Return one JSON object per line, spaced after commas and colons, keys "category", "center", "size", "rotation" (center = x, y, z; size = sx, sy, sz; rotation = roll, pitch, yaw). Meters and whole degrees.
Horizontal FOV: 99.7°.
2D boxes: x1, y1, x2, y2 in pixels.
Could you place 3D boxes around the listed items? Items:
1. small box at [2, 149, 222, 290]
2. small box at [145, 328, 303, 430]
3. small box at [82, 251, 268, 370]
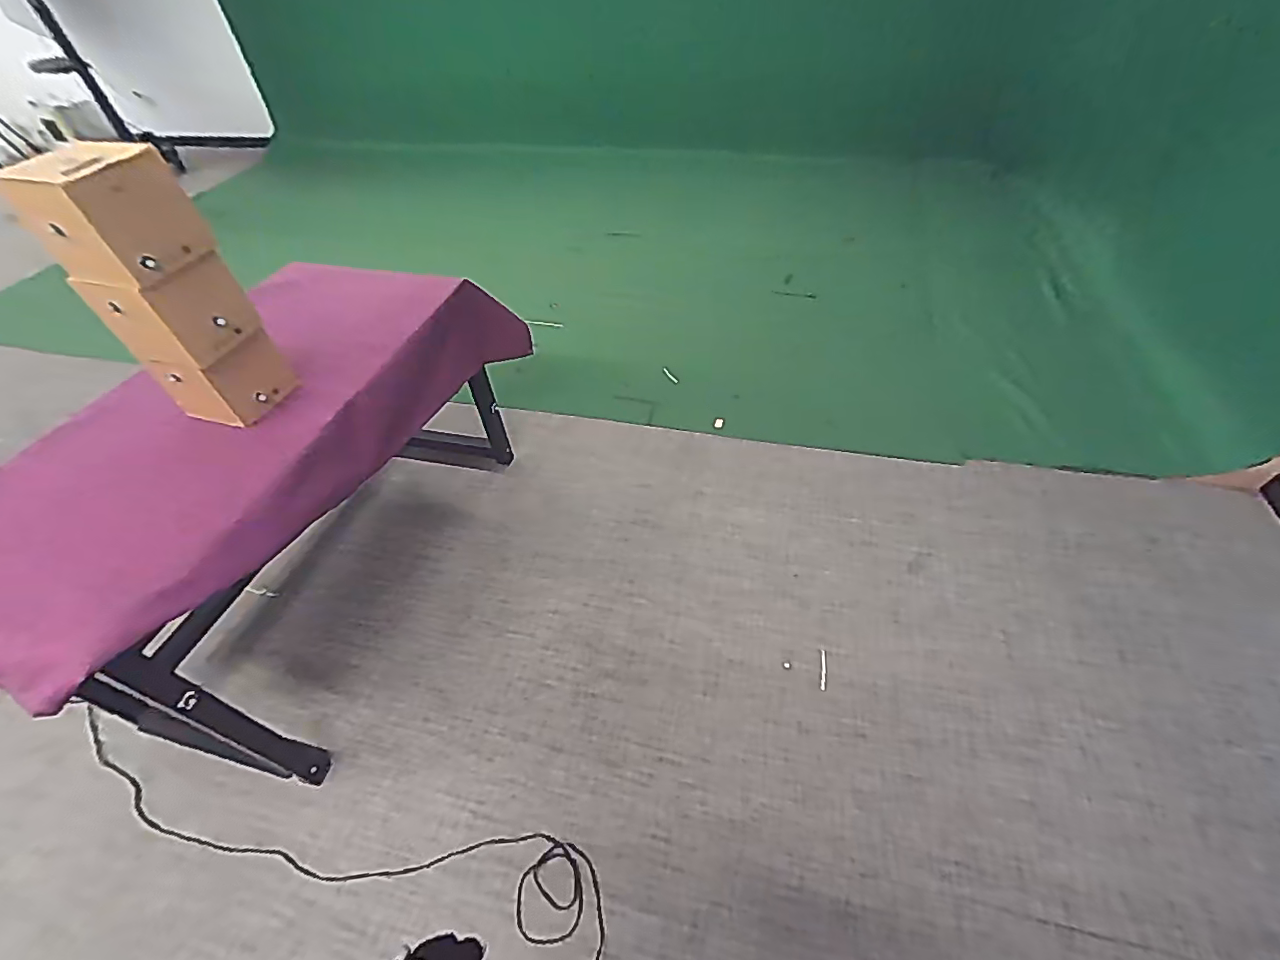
{"category": "small box", "center": [-0.887, -0.446, 0.931], "size": [0.179, 0.176, 0.168], "rotation": [11, 50, 15]}
{"category": "small box", "center": [-0.894, -0.231, 1.179], "size": [0.179, 0.176, 0.168], "rotation": [13, 50, 14]}
{"category": "small box", "center": [-0.889, -0.335, 1.052], "size": [0.179, 0.176, 0.168], "rotation": [11, 50, 14]}
